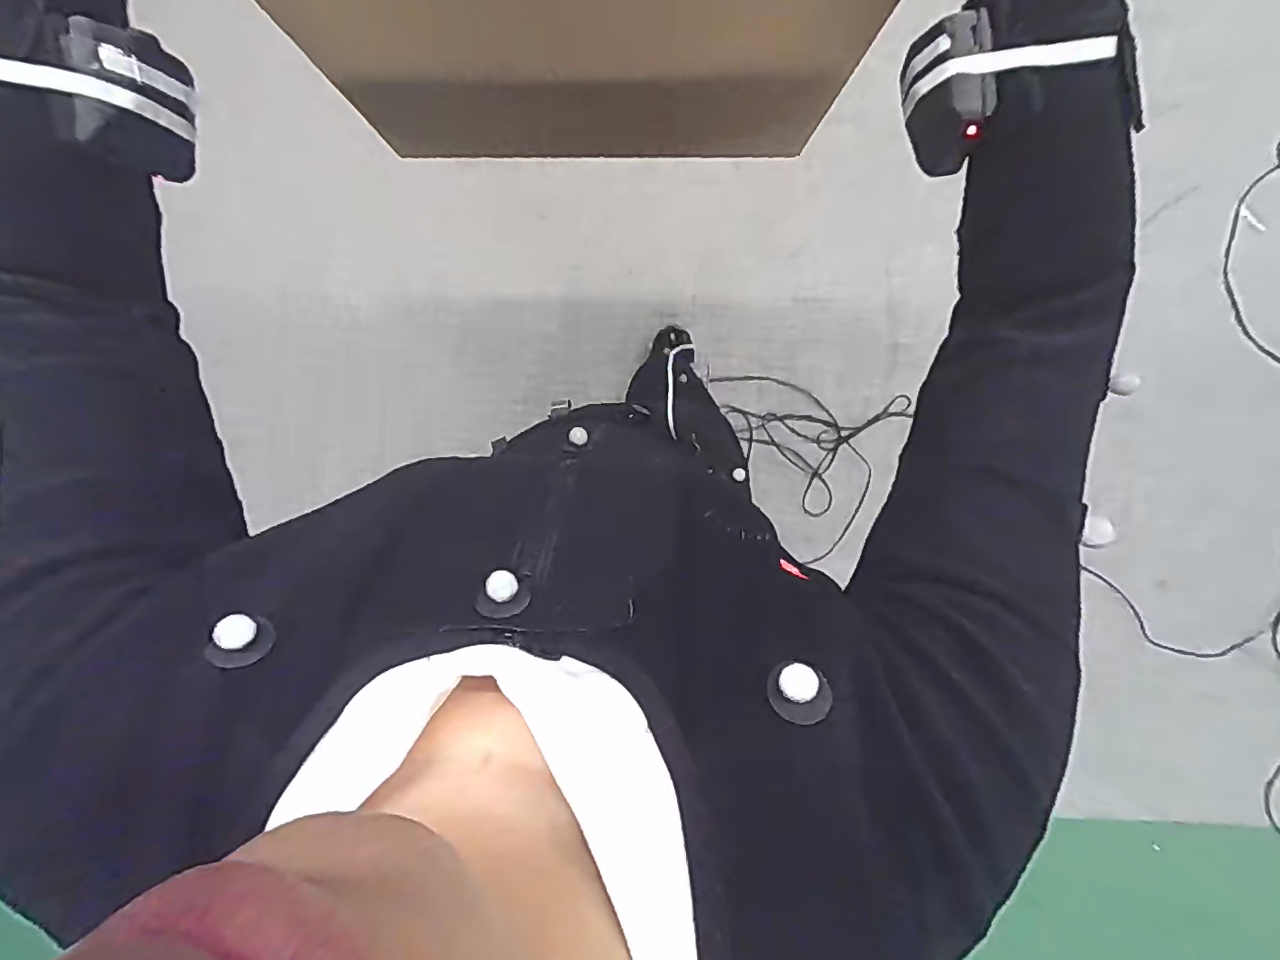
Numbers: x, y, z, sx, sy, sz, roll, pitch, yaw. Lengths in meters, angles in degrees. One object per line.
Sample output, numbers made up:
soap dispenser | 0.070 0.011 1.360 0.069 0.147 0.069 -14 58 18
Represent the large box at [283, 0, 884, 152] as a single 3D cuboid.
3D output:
large box | -0.038 -0.463 0.375 0.408 0.320 0.320 -1 98 -1
